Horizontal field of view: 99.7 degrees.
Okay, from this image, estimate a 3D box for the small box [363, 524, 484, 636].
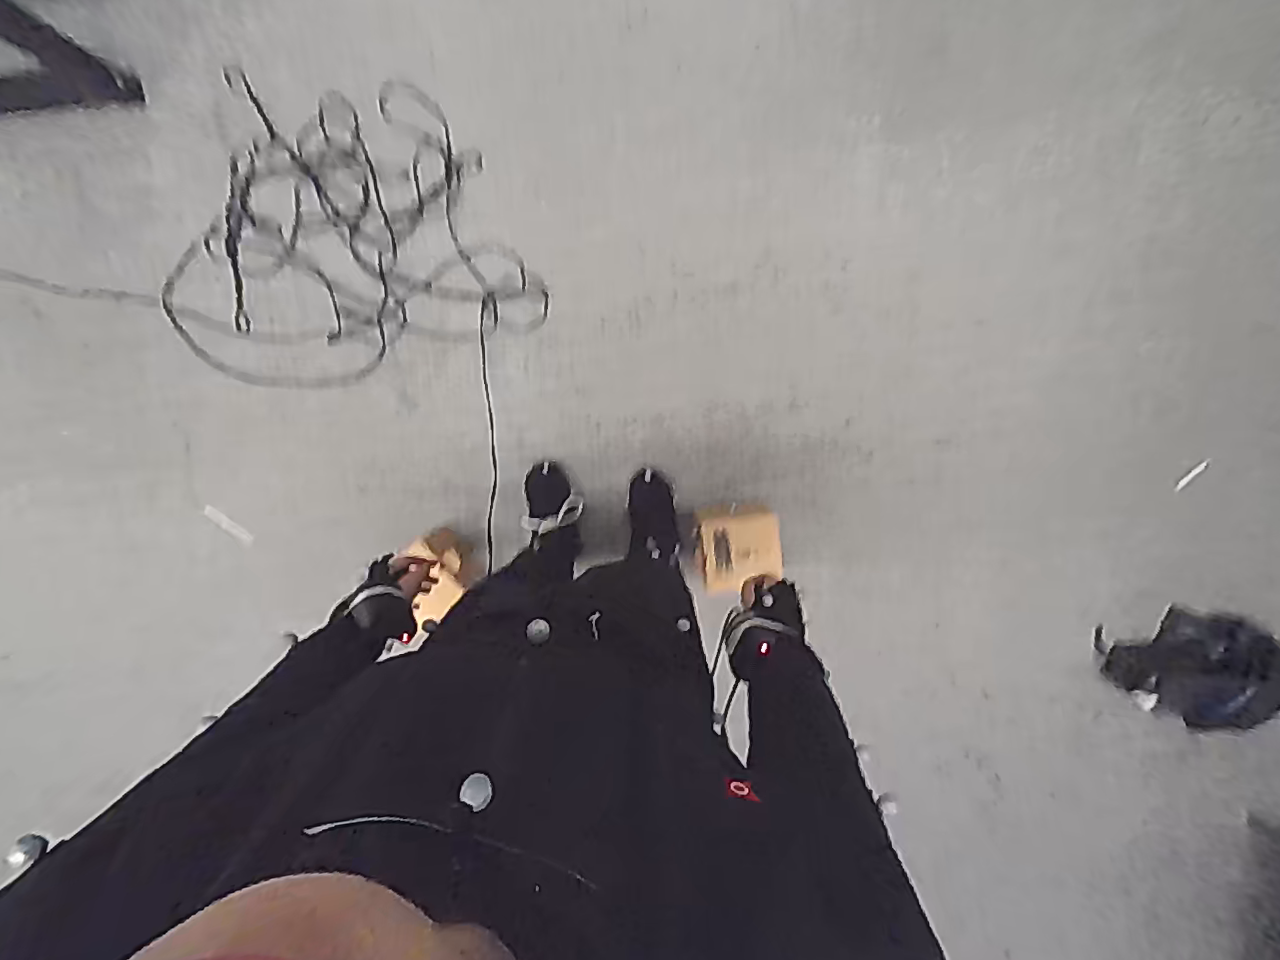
[{"bbox_3d":[-0.501,0.229,1.280,0.179,0.176,0.168,-38,97,4],"label":"small box"}]
